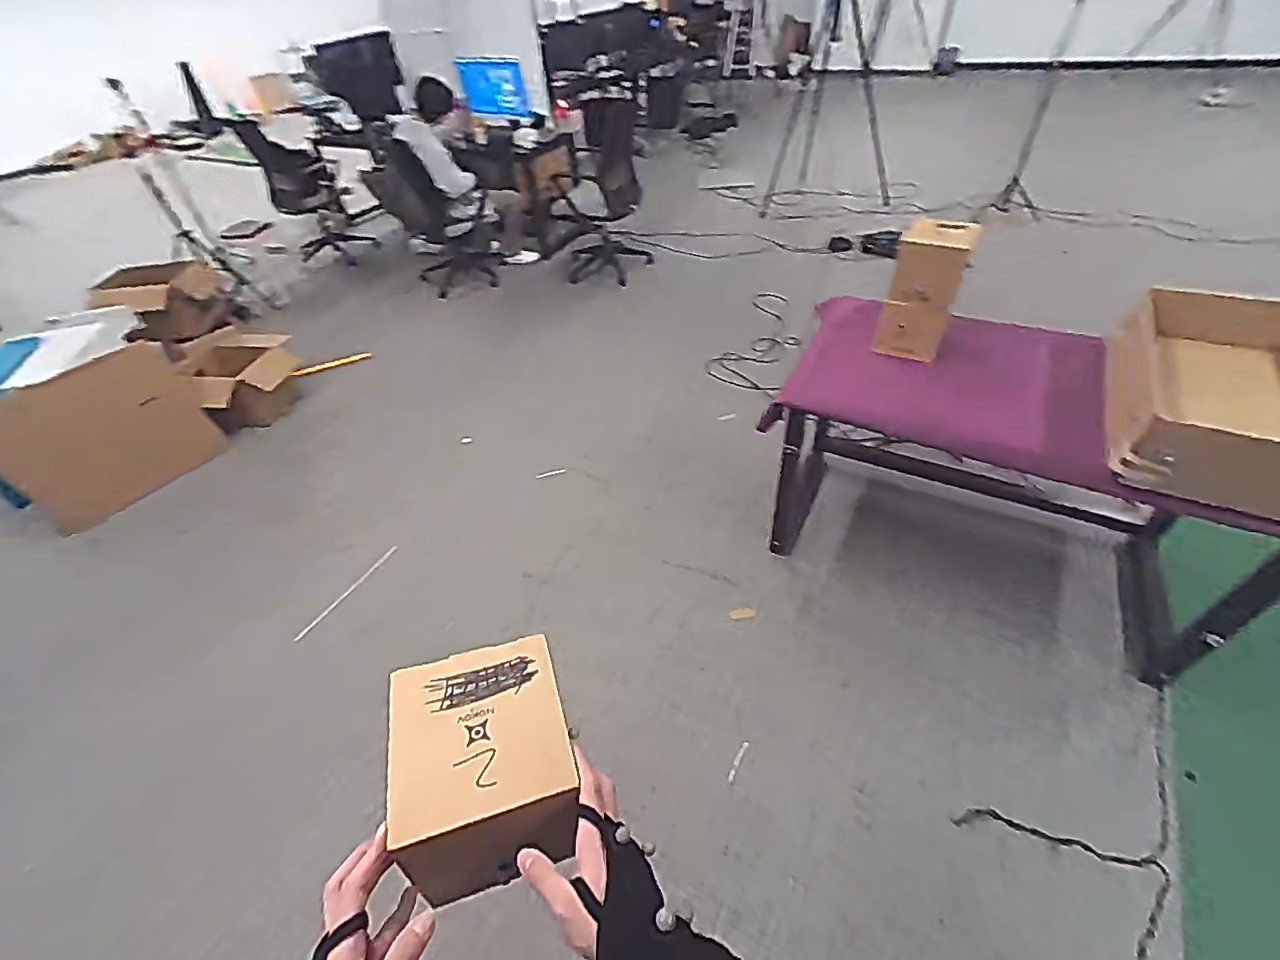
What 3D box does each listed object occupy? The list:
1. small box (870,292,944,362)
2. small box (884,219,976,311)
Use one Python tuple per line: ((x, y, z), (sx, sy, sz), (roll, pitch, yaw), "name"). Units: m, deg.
((0.789, -0.470, 1.588), (0.168, 0.176, 0.179), (17, 48, 23), "small box")
((0.783, -0.587, 1.472), (0.168, 0.176, 0.179), (21, 51, 26), "small box")
